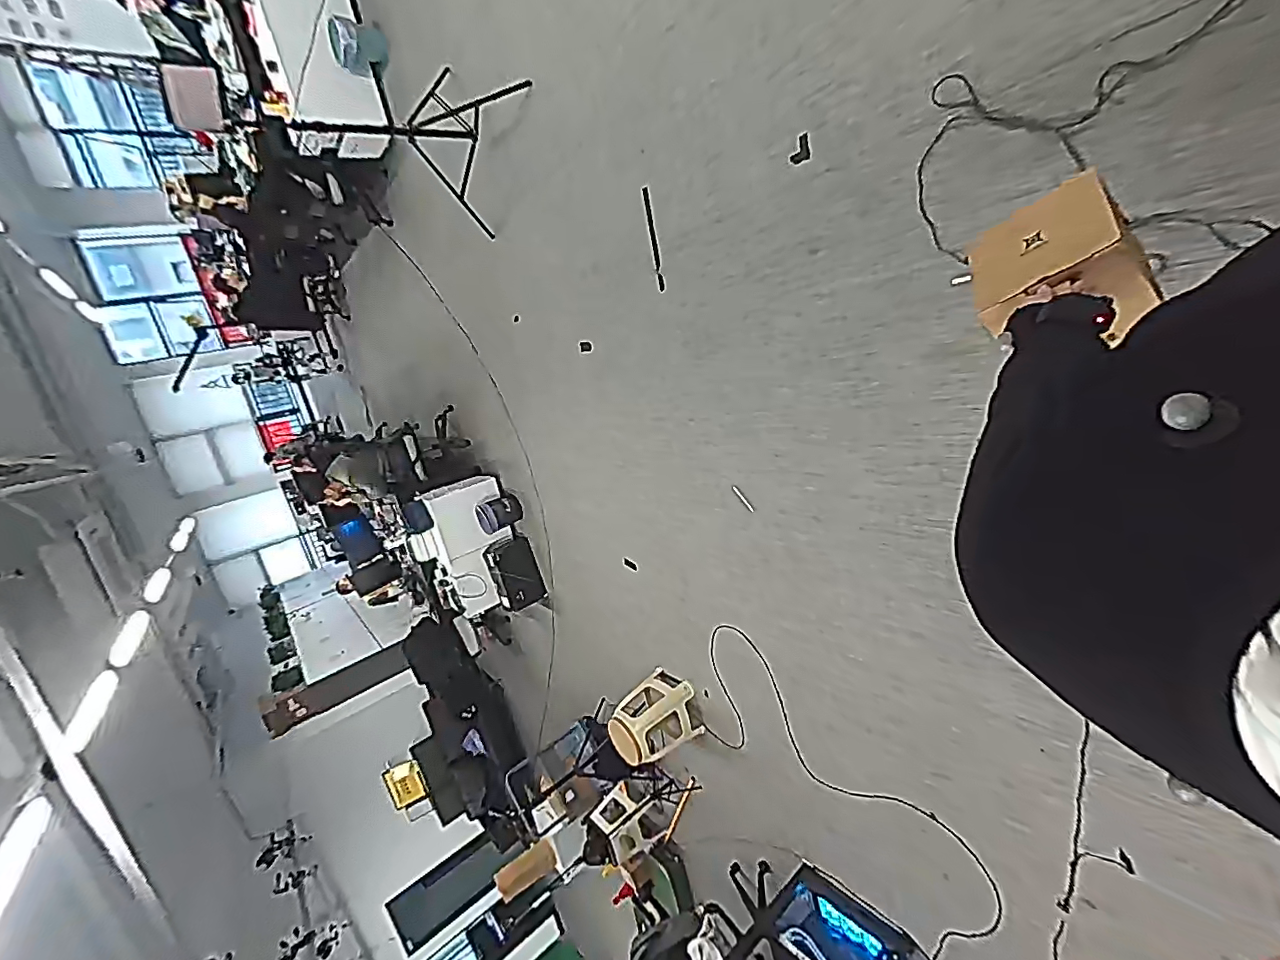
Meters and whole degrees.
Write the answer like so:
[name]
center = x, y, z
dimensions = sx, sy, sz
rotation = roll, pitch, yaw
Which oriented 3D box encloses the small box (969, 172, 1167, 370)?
[small box]
center = 0.602, -0.282, 0.772
dimensions = 0.176, 0.179, 0.168
rotation = 34, 144, -24
